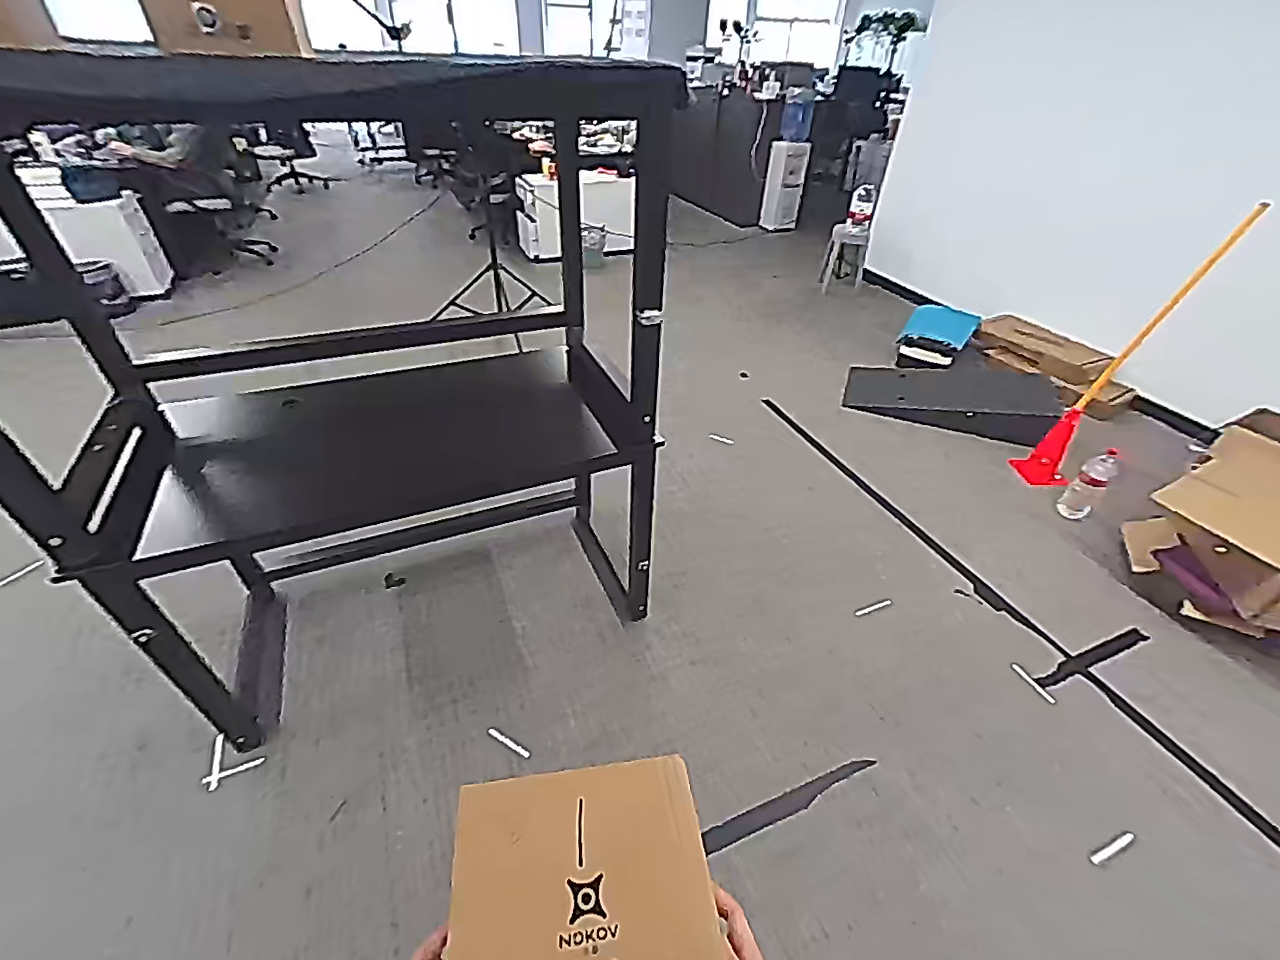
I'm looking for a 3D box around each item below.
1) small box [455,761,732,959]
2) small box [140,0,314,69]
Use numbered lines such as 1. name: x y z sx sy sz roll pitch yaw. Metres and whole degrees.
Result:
1. small box: -0.033 0.333 0.383 0.168 0.176 0.179 -3 40 -9
2. small box: -0.547 -0.649 0.706 0.168 0.176 0.179 -13 40 -17
